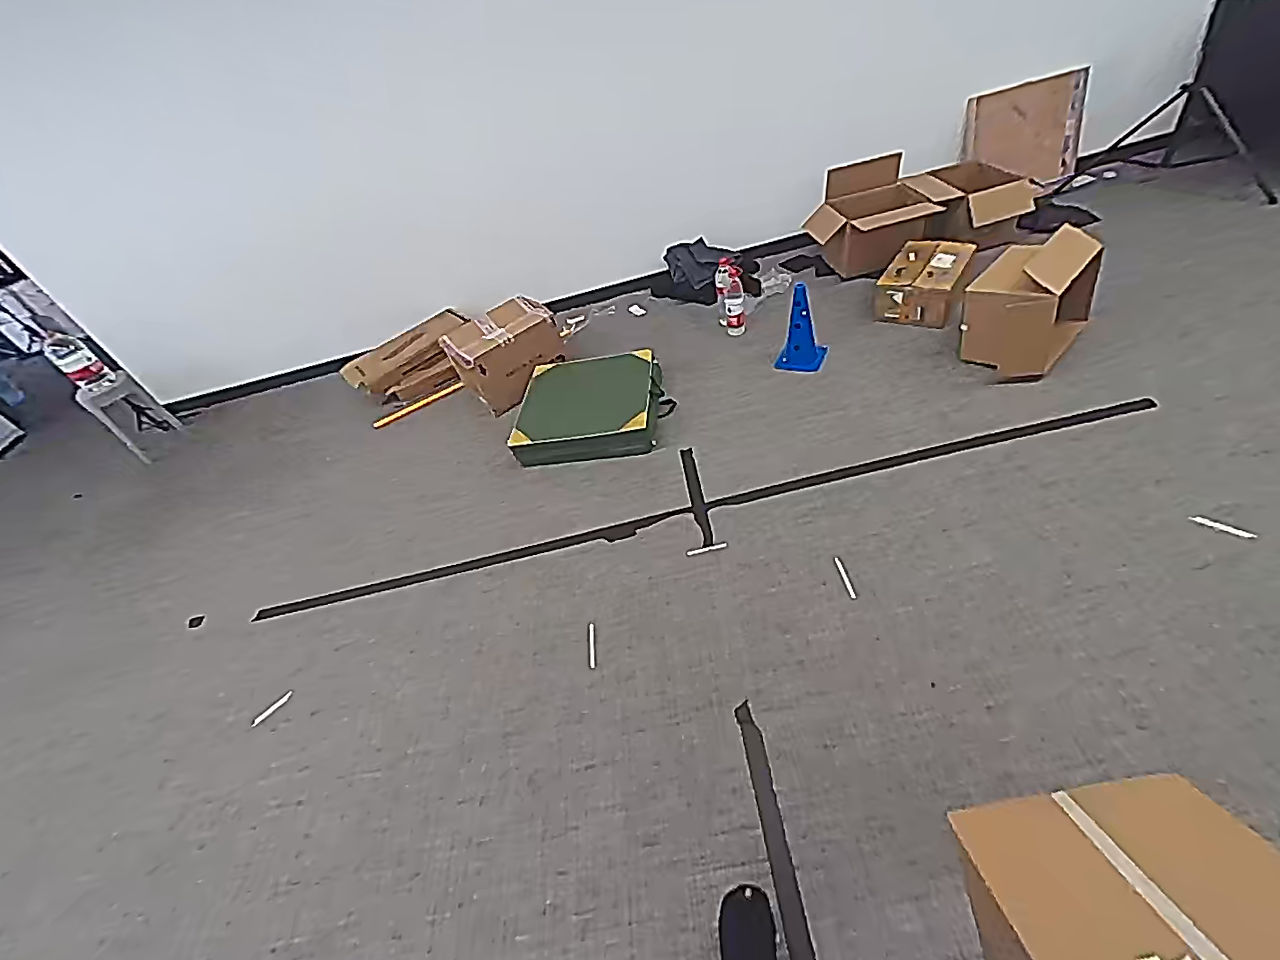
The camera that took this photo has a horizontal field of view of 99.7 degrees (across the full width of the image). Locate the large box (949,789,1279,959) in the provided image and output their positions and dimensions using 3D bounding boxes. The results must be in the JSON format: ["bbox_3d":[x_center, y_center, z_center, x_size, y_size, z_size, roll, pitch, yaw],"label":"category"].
[{"bbox_3d":[0.612,0.627,0.583,0.320,0.320,0.408,-17,3,8],"label":"large box"}]
